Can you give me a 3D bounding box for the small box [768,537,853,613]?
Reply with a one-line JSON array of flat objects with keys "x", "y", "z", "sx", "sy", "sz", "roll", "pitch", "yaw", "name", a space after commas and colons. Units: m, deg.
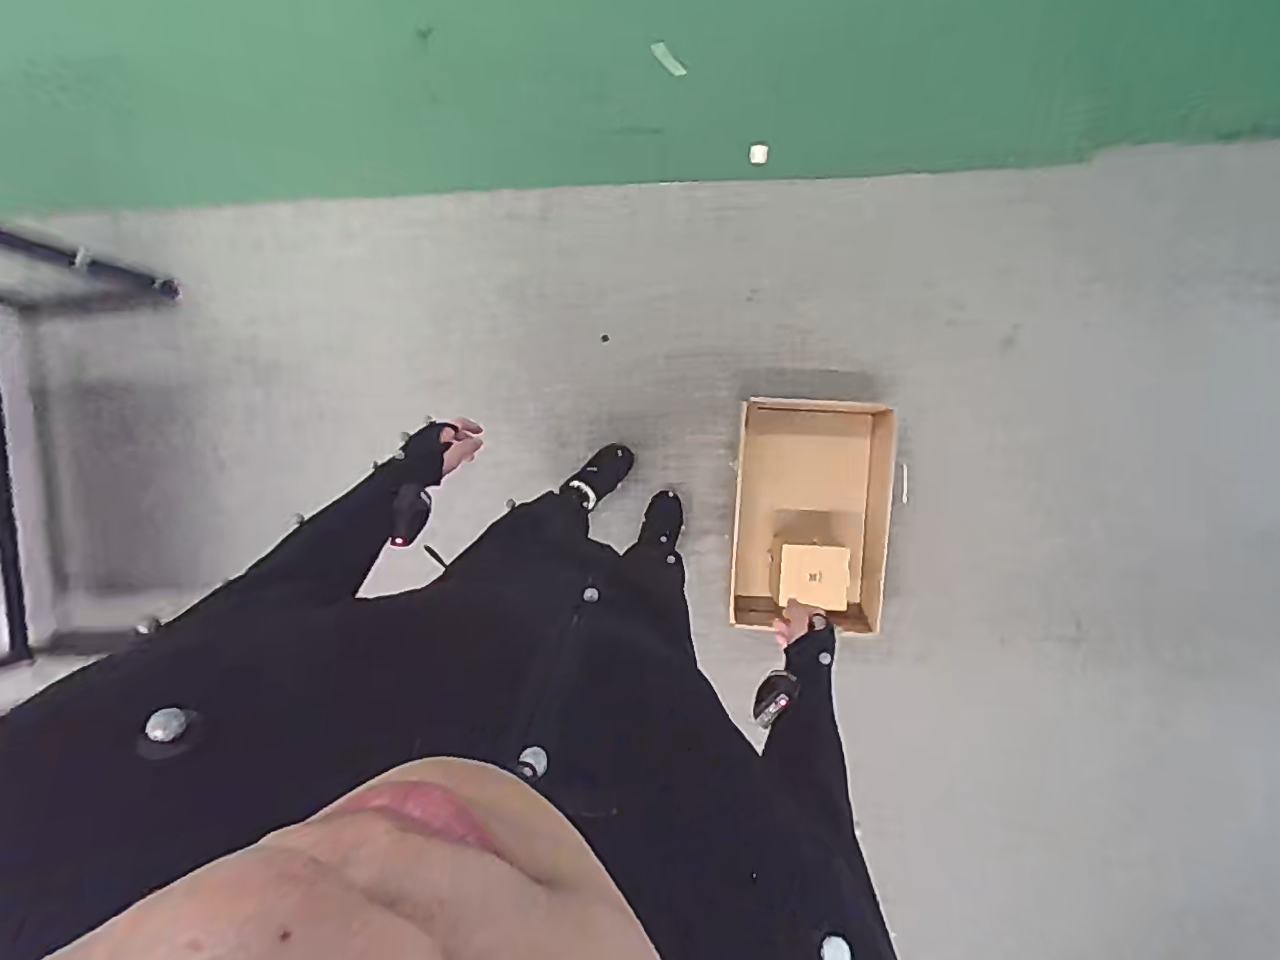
[{"x": 0.456, "y": 0.250, "z": 1.466, "sx": 0.179, "sy": 0.176, "sz": 0.168, "roll": 4, "pitch": 93, "yaw": 4, "name": "small box"}]
